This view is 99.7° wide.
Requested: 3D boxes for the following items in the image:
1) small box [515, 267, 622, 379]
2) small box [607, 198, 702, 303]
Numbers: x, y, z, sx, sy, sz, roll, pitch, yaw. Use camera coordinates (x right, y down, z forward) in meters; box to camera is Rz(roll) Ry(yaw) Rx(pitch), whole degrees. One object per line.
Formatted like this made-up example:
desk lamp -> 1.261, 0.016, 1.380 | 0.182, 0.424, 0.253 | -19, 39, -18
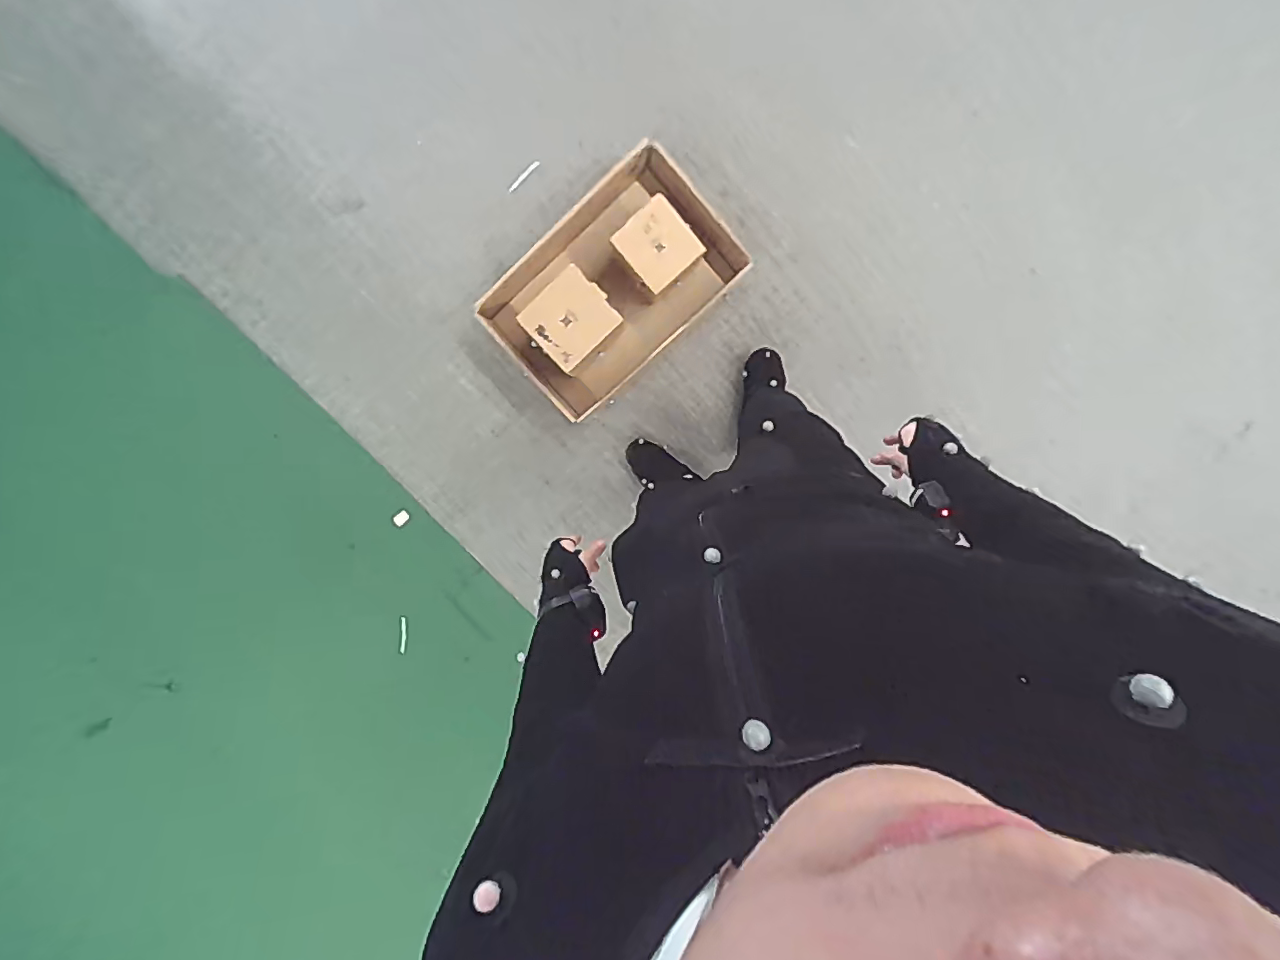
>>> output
small box -> -0.160, -0.353, 1.249 | 0.179, 0.176, 0.168 | -43, 96, 4
small box -> 0.035, -0.574, 1.384 | 0.168, 0.176, 0.179 | -41, 97, 5
